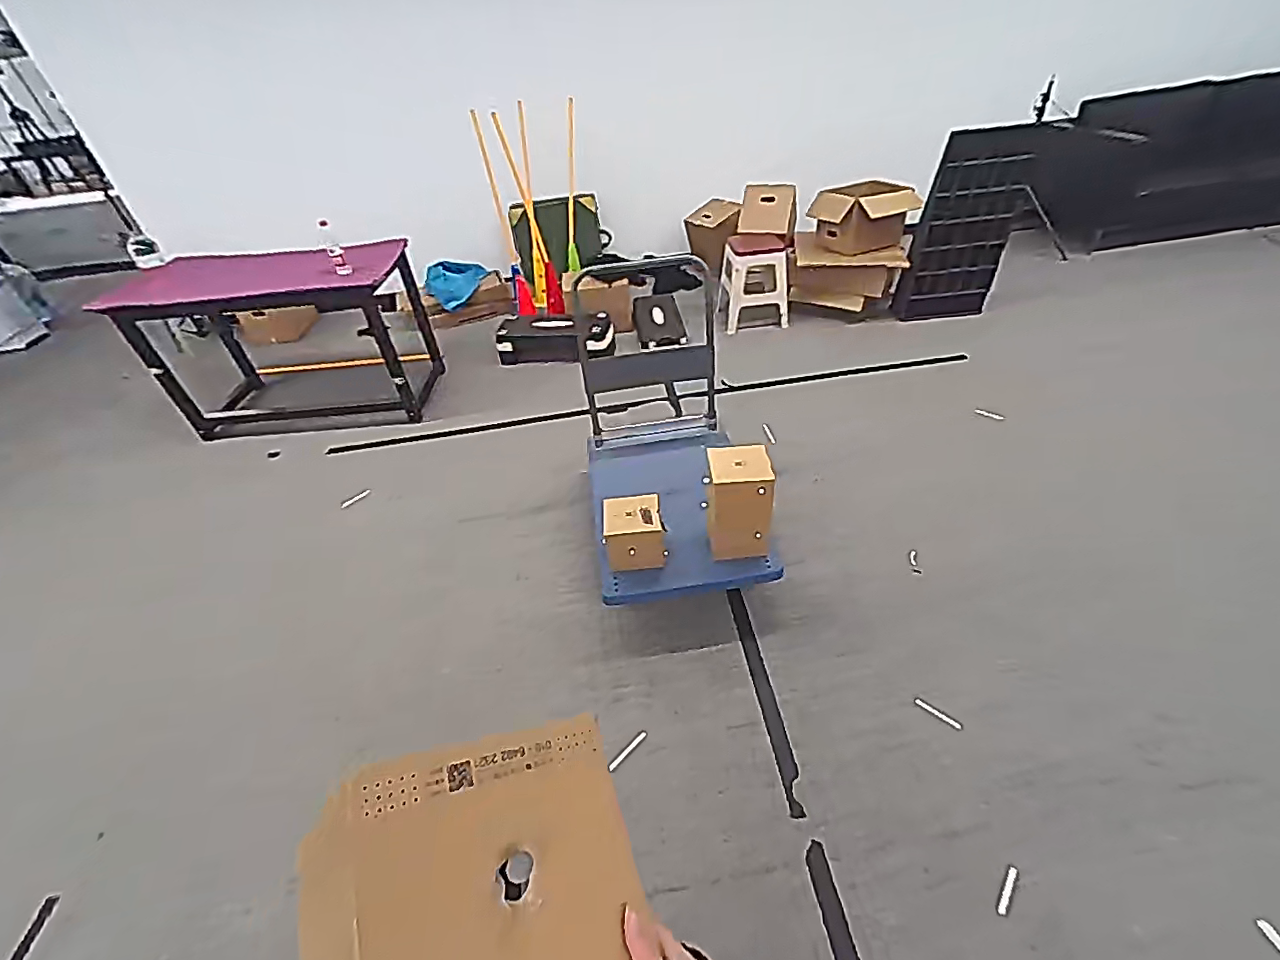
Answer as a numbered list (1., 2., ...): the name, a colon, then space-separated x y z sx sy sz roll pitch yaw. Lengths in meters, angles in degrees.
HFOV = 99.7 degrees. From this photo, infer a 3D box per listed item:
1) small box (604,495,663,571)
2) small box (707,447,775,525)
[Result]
1. small box: -0.017 0.171 1.721 0.179 0.176 0.168 -6 40 1
2. small box: 0.295 0.019 1.612 0.179 0.176 0.168 -3 40 1
